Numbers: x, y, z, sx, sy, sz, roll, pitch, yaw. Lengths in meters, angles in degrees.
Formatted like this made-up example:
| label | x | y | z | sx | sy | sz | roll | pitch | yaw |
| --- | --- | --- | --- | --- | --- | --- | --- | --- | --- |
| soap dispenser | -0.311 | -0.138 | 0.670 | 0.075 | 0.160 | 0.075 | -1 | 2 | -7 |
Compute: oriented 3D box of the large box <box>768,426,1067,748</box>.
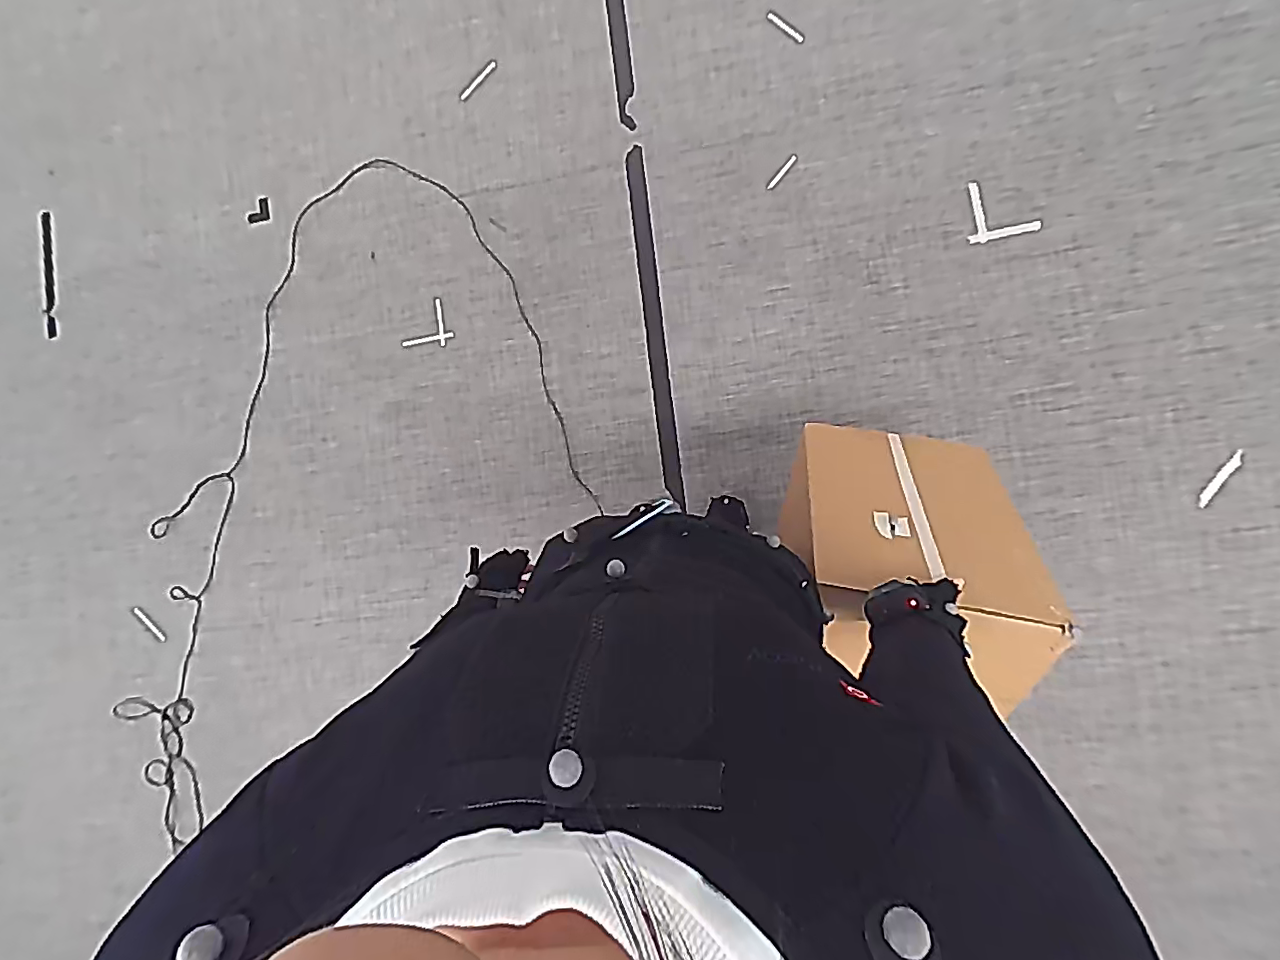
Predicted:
| label | x | y | z | sx | sy | sz | roll | pitch | yaw |
| --- | --- | --- | --- | --- | --- | --- | --- | --- | --- |
| large box | 0.400 | 0.159 | 0.916 | 0.320 | 0.408 | 0.320 | 8 | 129 | 9 |
